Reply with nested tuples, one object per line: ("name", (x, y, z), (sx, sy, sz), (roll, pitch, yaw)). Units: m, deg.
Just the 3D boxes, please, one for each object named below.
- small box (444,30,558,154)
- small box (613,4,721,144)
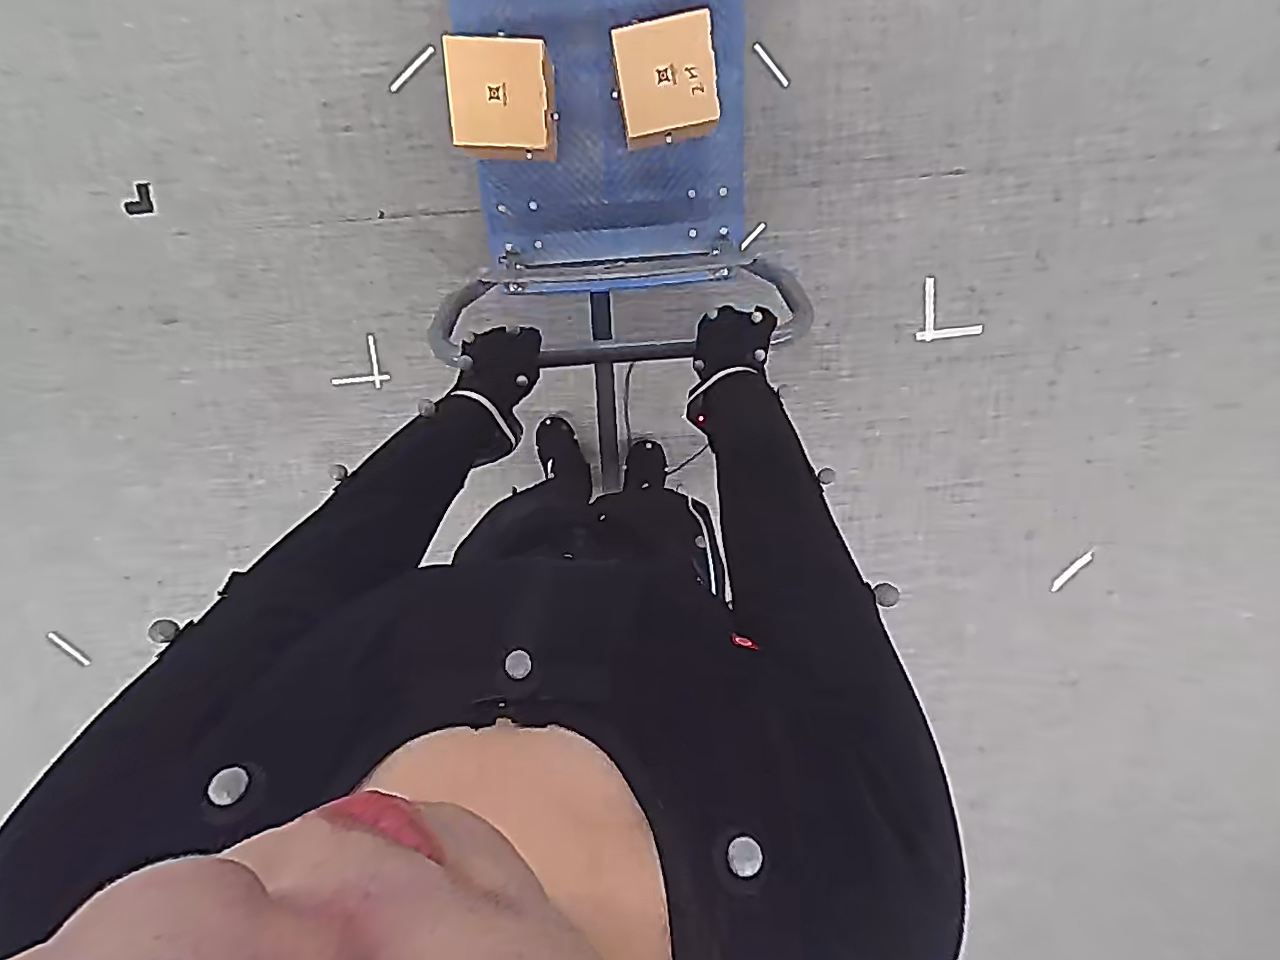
("small box", (-0.257, -0.733, 1.040), (0.179, 0.176, 0.168), (0, 115, -3))
("small box", (0.050, -0.761, 1.034), (0.179, 0.176, 0.168), (-10, 115, 3))
